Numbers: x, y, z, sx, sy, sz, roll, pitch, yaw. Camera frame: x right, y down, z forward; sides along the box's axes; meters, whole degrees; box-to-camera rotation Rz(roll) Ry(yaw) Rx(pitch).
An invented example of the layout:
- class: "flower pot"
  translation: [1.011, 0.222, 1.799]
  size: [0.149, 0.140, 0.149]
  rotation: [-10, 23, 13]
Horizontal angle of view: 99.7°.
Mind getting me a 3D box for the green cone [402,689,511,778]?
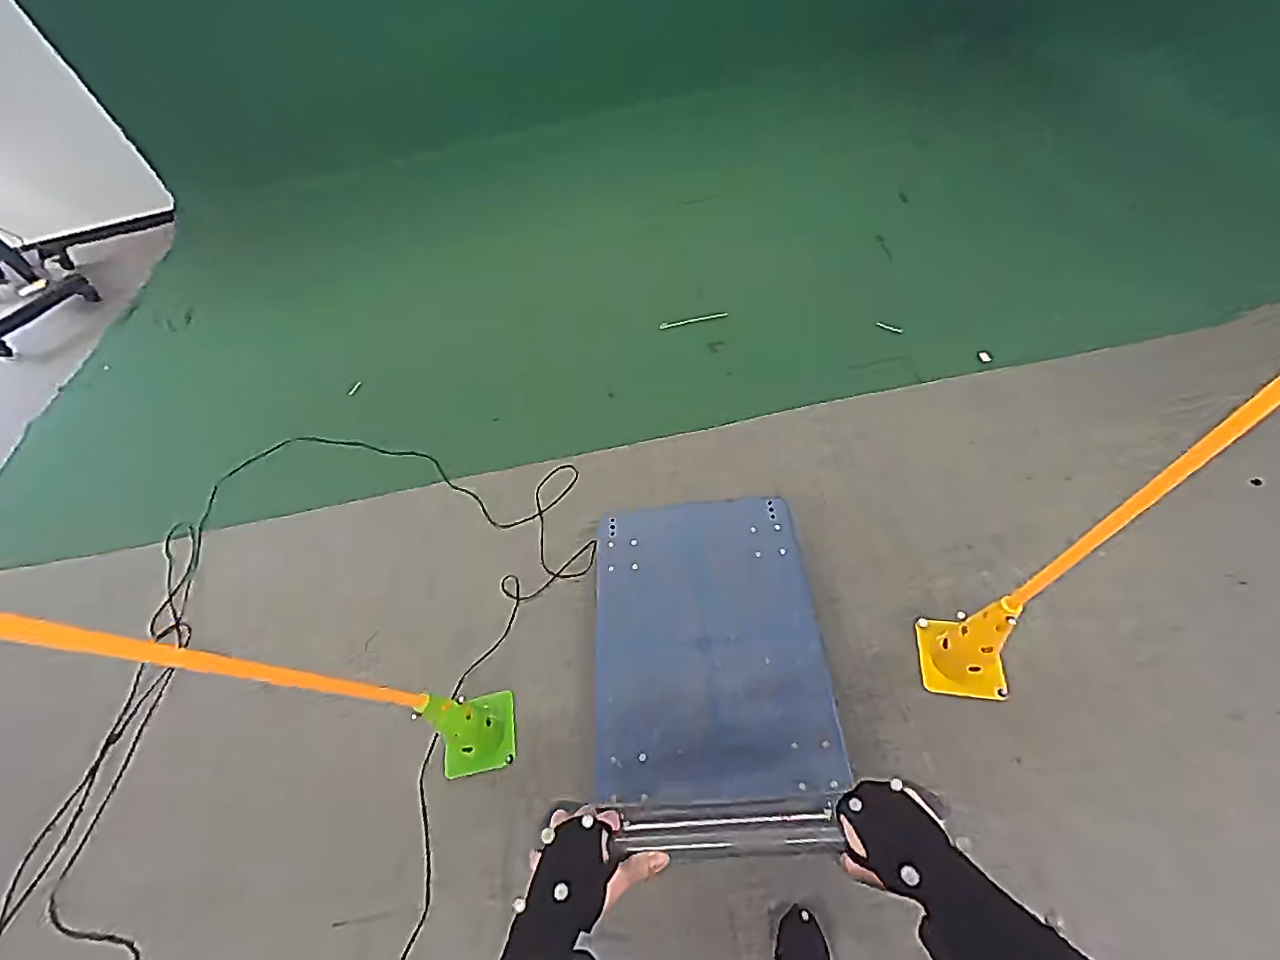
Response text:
- class: "green cone"
  translation: [-0.488, 0.602, 1.372]
  size: [0.202, 0.368, 0.200]
  rotation: [-15, 52, 1]
